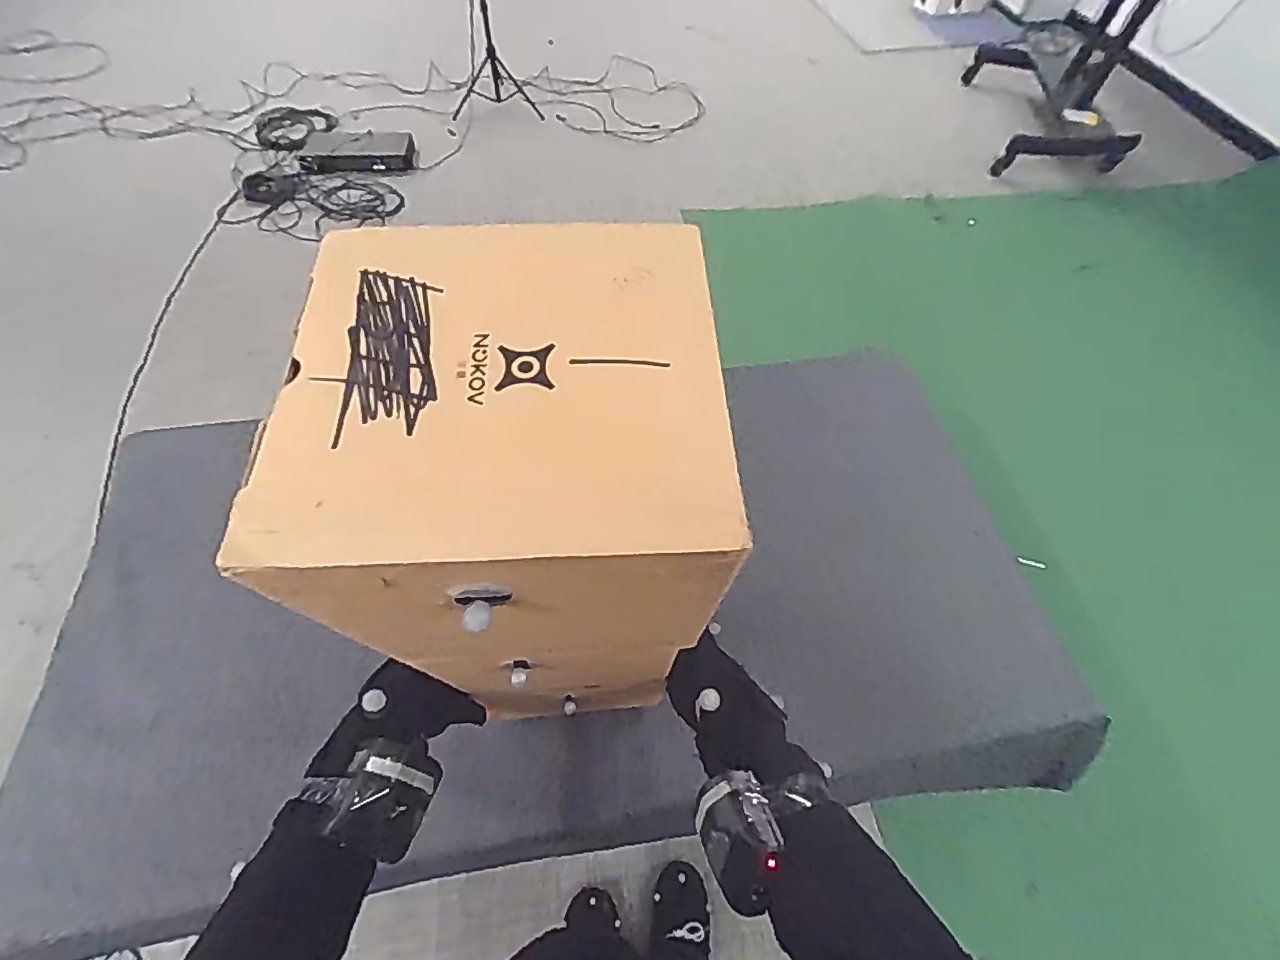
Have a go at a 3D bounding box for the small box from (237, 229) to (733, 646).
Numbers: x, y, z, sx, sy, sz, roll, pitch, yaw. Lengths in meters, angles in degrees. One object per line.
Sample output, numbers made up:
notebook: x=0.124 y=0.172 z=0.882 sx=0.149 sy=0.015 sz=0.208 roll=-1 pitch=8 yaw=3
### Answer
small box: x=-0.057 y=-0.010 z=0.295 sx=0.179 sy=0.176 sz=0.168 roll=-1 pitch=62 yaw=-3

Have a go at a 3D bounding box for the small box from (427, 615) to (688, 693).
small box: x=-0.062 y=0.065 z=0.444 sx=0.168 sy=0.176 sz=0.179 roll=-4 pitch=63 yaw=-5

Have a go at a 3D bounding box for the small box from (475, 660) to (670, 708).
small box: x=-0.068 y=0.145 z=0.585 sx=0.179 sy=0.176 sz=0.168 roll=-4 pitch=62 yaw=-5
